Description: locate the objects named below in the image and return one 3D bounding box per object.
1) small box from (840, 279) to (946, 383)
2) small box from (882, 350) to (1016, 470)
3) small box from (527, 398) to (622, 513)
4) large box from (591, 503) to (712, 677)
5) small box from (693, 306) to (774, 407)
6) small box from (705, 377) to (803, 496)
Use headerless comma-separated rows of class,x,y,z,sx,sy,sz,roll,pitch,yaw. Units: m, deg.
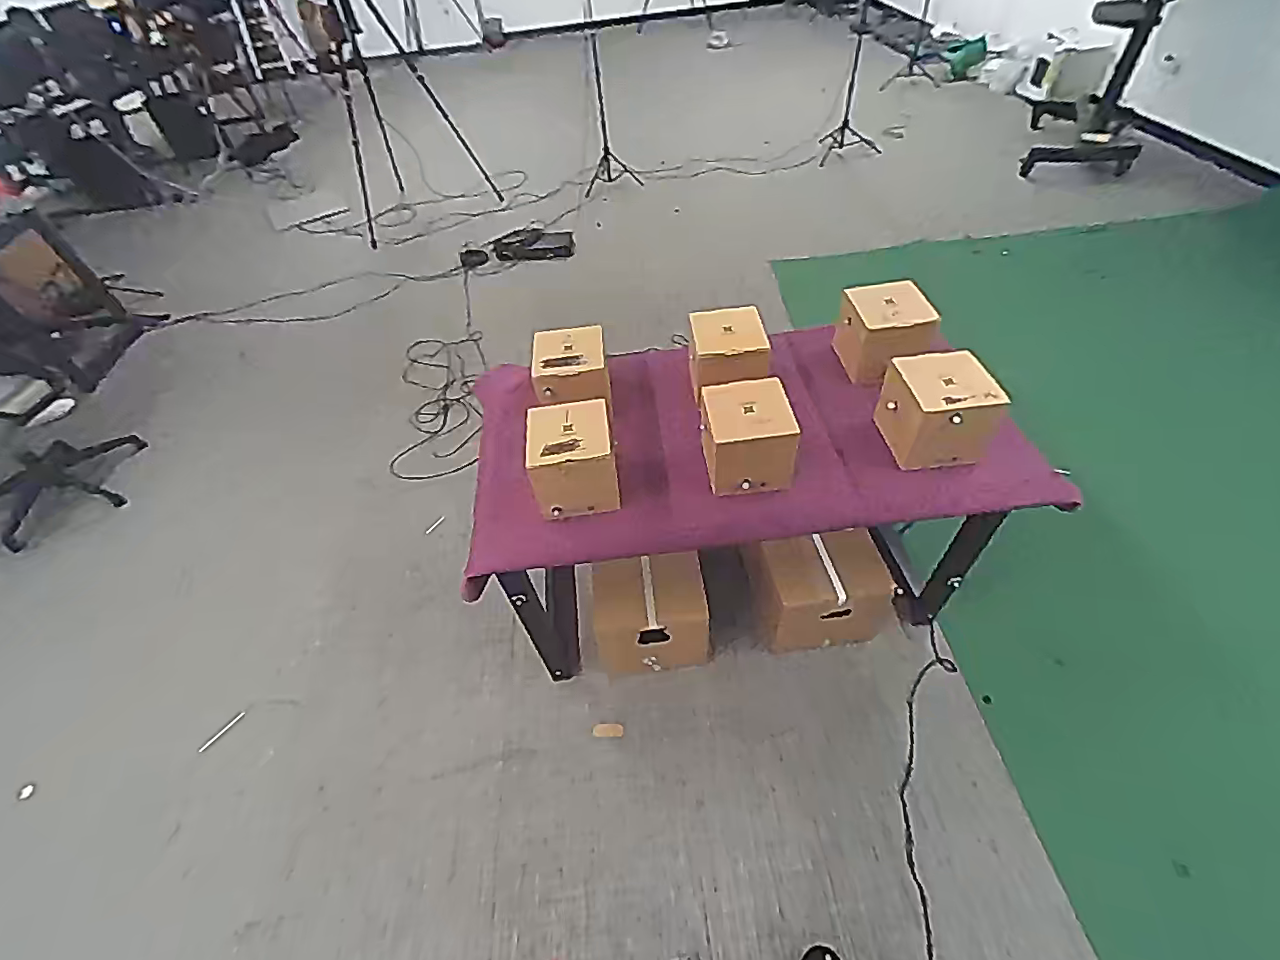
small box,0.599,-0.359,1.311,0.168,0.176,0.179,-7,50,3
small box,0.624,-0.144,1.123,0.168,0.176,0.179,-7,47,3
small box,-0.133,-0.045,1.129,0.168,0.176,0.179,-8,47,0
large box,0.034,0.336,1.661,0.320,0.320,0.408,-7,48,0
small box,0.218,-0.295,1.308,0.168,0.176,0.179,-6,50,2
small box,0.227,-0.089,1.126,0.168,0.176,0.179,-7,48,2
